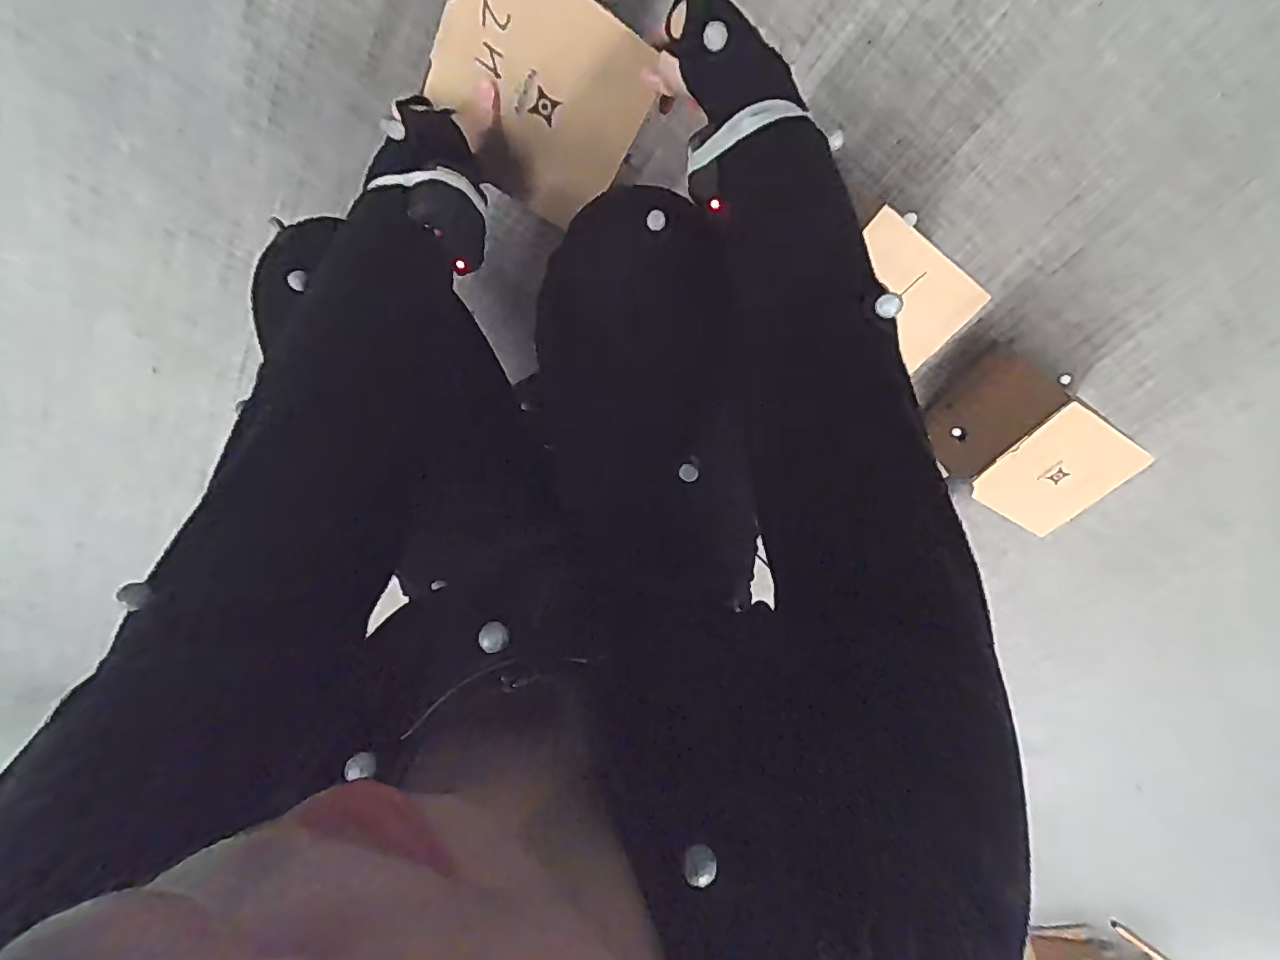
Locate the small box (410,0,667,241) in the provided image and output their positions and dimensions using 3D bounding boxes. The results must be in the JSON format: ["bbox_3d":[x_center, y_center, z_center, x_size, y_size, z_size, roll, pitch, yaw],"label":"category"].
[{"bbox_3d":[-0.091,-0.377,0.534,0.179,0.176,0.168,27,123,-19],"label":"small box"}]

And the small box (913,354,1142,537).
[{"bbox_3d":[0.534,-0.055,0.775,0.179,0.176,0.168,25,125,-18],"label":"small box"}]
